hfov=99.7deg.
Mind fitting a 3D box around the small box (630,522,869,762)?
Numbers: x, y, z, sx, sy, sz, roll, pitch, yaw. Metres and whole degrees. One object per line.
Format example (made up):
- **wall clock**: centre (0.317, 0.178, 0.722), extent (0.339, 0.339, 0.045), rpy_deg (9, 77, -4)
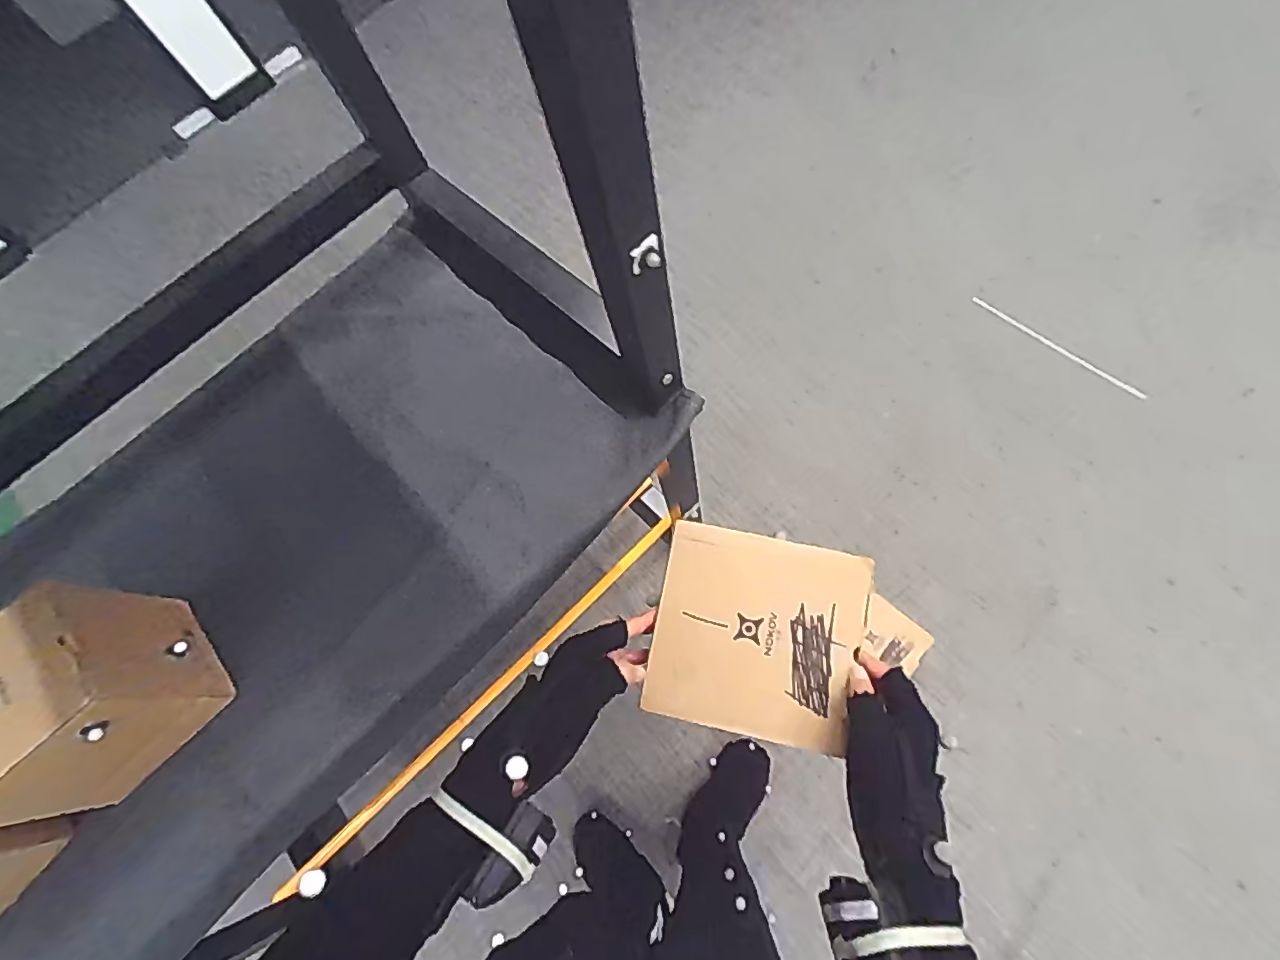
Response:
- **small box**: centre (0.098, 0.146, 0.529), extent (0.179, 0.176, 0.168), rpy_deg (11, 79, 7)
